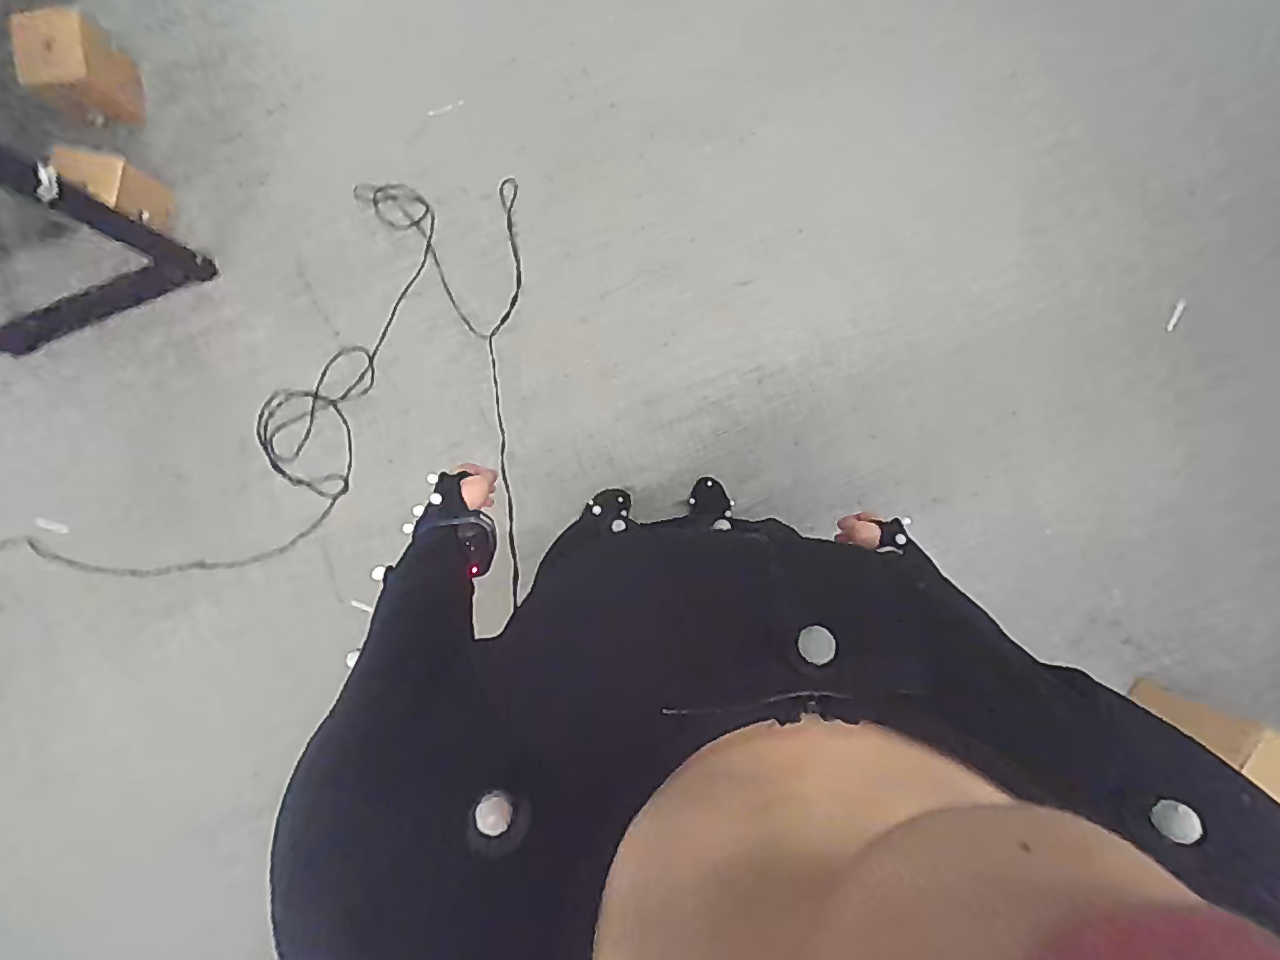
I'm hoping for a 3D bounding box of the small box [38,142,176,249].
[{"bbox_3d":[-1.337,-0.710,1.371,0.179,0.176,0.168,11,89,-1],"label":"small box"}]

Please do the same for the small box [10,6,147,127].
[{"bbox_3d":[-1.413,-1.042,1.372,0.168,0.176,0.179,-8,91,-1],"label":"small box"}]
